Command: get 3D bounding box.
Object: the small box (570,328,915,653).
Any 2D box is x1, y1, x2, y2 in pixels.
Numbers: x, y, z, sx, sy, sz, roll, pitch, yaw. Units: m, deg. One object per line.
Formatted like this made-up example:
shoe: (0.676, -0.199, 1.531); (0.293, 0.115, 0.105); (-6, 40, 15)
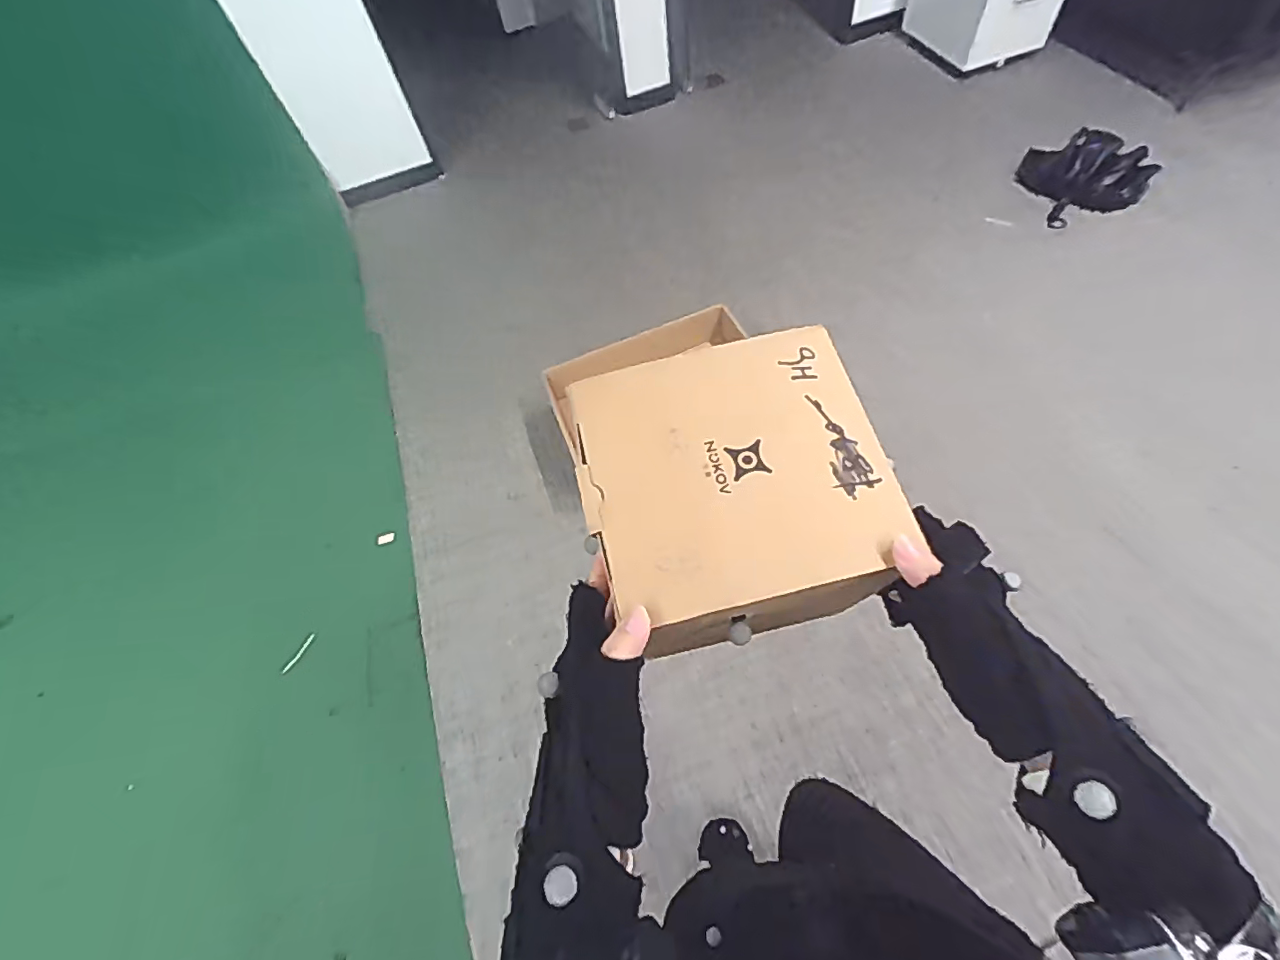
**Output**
small box: (0.061, 0.021, 0.409); (0.179, 0.176, 0.168); (-15, 65, -4)
